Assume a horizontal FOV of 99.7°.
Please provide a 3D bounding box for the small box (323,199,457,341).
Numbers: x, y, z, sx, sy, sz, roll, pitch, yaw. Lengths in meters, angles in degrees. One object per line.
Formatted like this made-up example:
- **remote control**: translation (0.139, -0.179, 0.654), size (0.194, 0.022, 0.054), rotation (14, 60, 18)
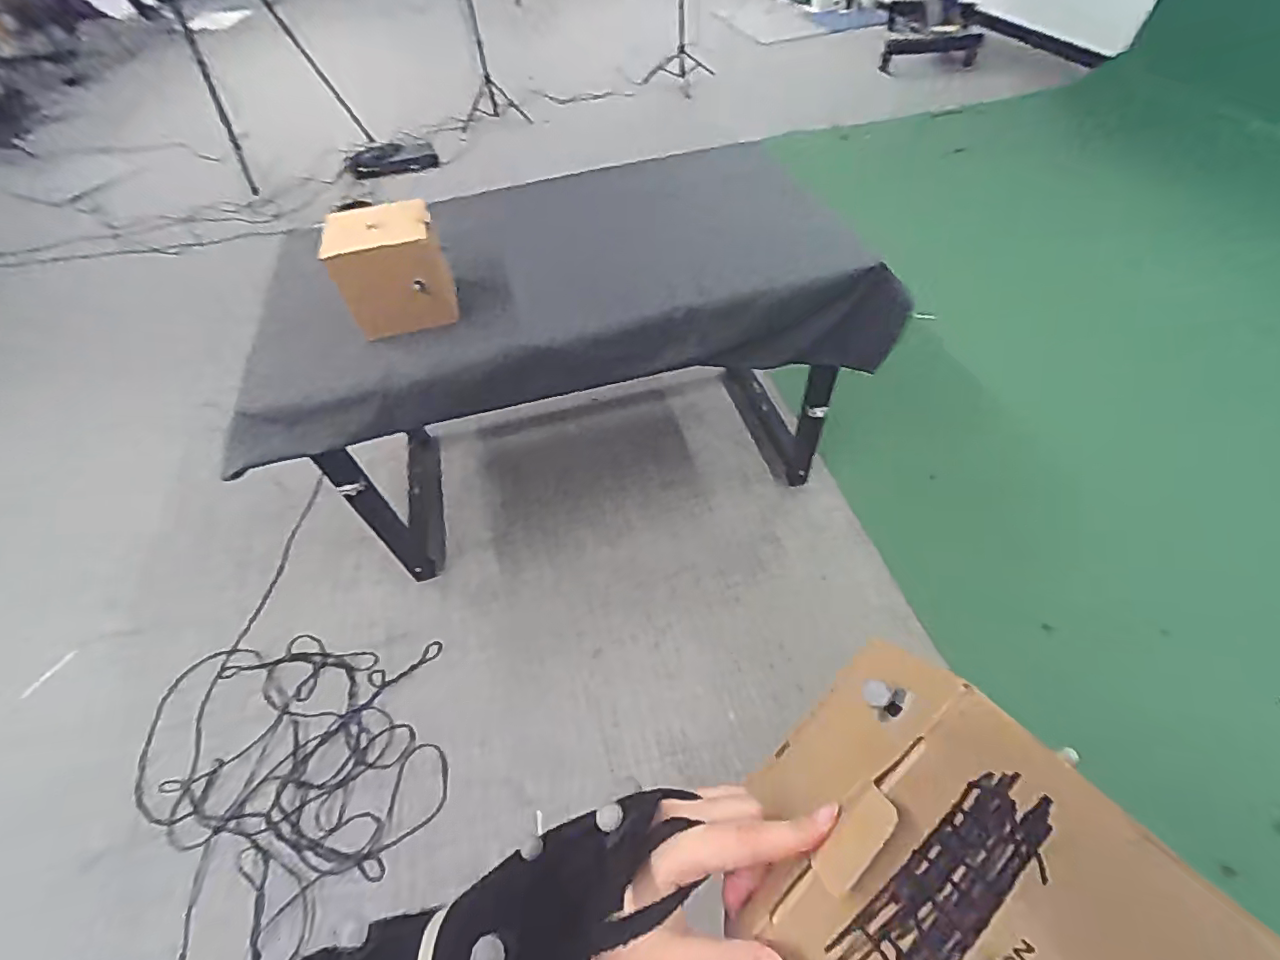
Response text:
- **small box**: translation (-0.446, -0.383, 0.996), size (0.179, 0.176, 0.168), rotation (-15, 51, -7)
